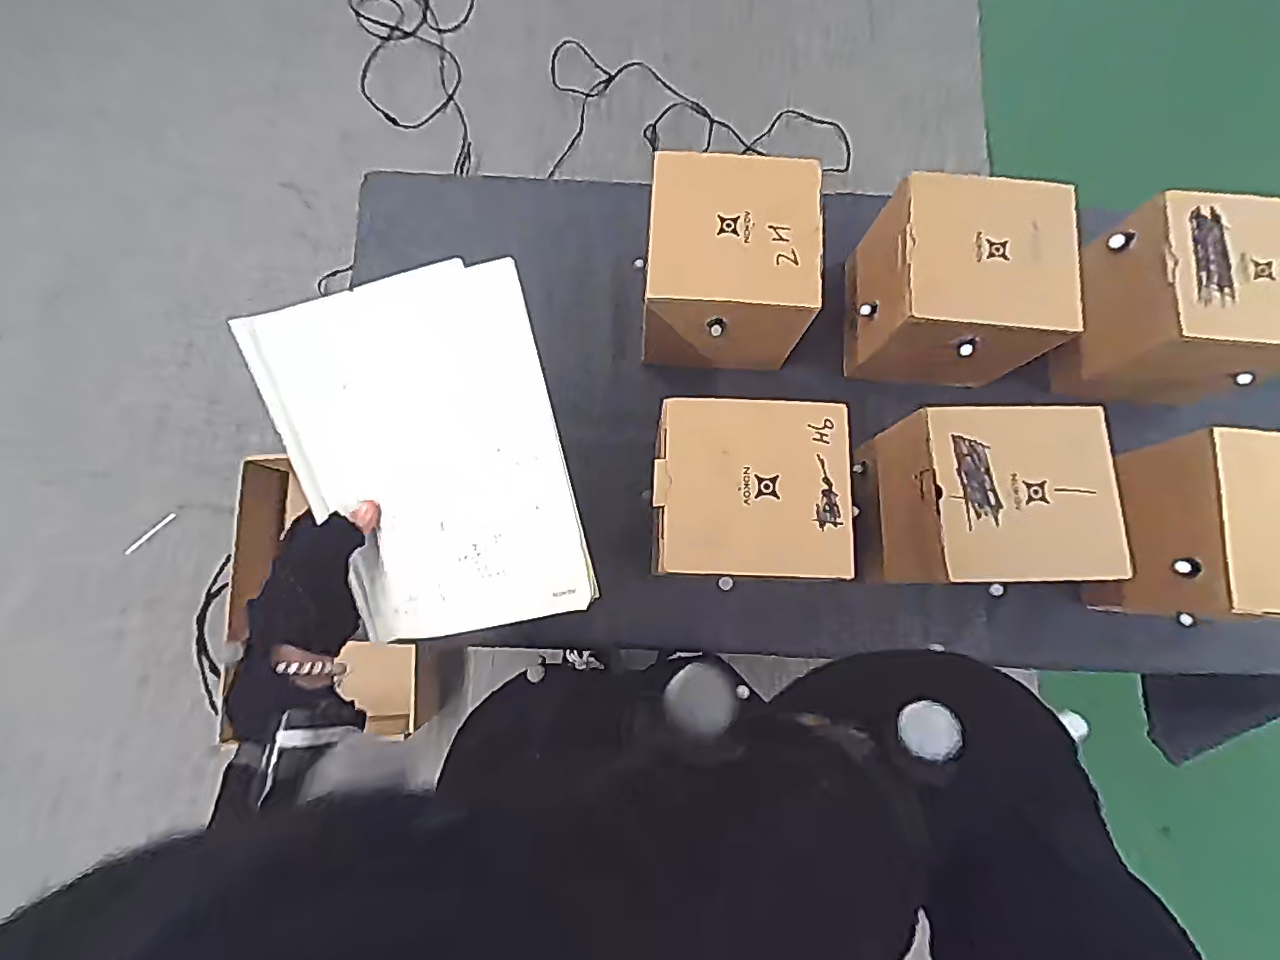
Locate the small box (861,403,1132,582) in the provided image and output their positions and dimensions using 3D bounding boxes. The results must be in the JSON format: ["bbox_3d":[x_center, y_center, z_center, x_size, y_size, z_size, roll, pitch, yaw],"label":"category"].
[{"bbox_3d":[0.353,0.023,0.577,0.179,0.176,0.168,0,79,-2],"label":"small box"}]

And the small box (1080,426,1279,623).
[{"bbox_3d":[0.613,0.056,0.580,0.168,0.176,0.179,6,79,0],"label":"small box"}]
